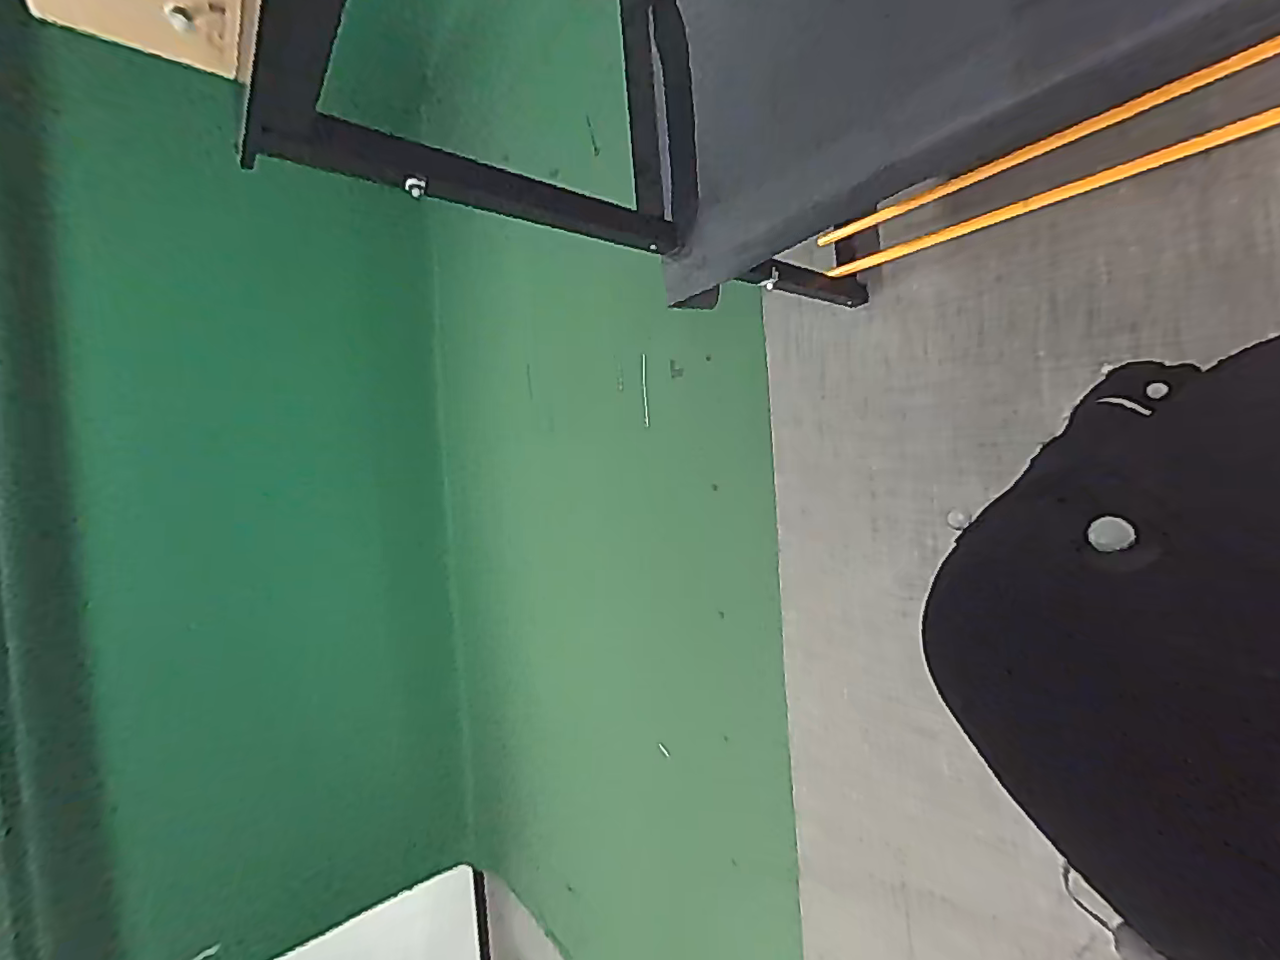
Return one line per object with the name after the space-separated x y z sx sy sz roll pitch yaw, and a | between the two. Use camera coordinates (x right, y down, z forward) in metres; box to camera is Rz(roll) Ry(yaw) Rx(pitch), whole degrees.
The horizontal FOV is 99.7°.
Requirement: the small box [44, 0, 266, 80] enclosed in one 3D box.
-0.488 -0.557 0.537 0.168 0.176 0.179 -6 91 51 | small box
